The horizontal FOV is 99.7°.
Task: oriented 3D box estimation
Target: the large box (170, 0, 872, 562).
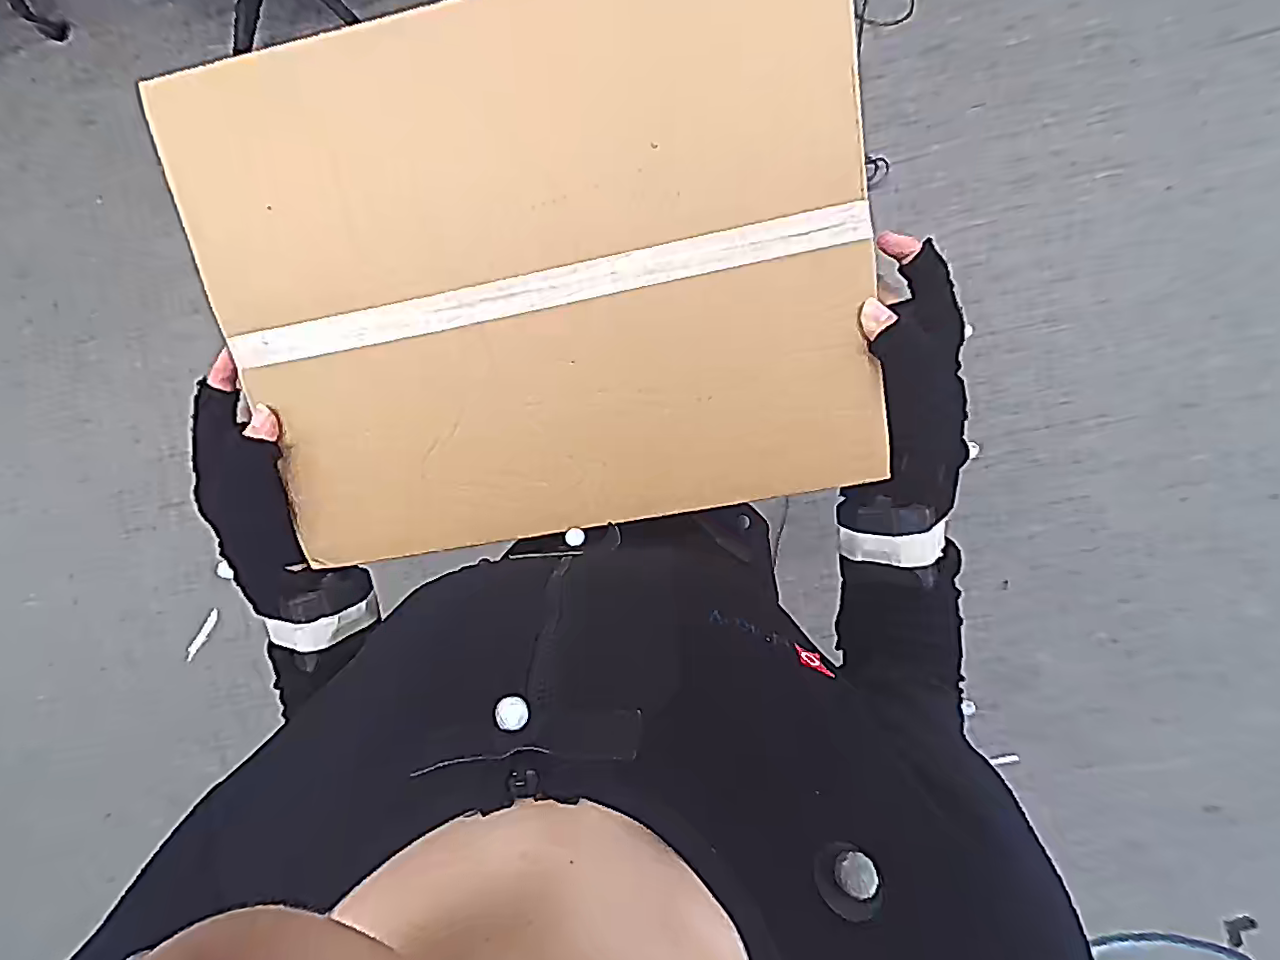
[{"bbox_3d":[-0.057,-0.156,0.488,0.408,0.320,0.320,-9,103,6],"label":"large box"}]
